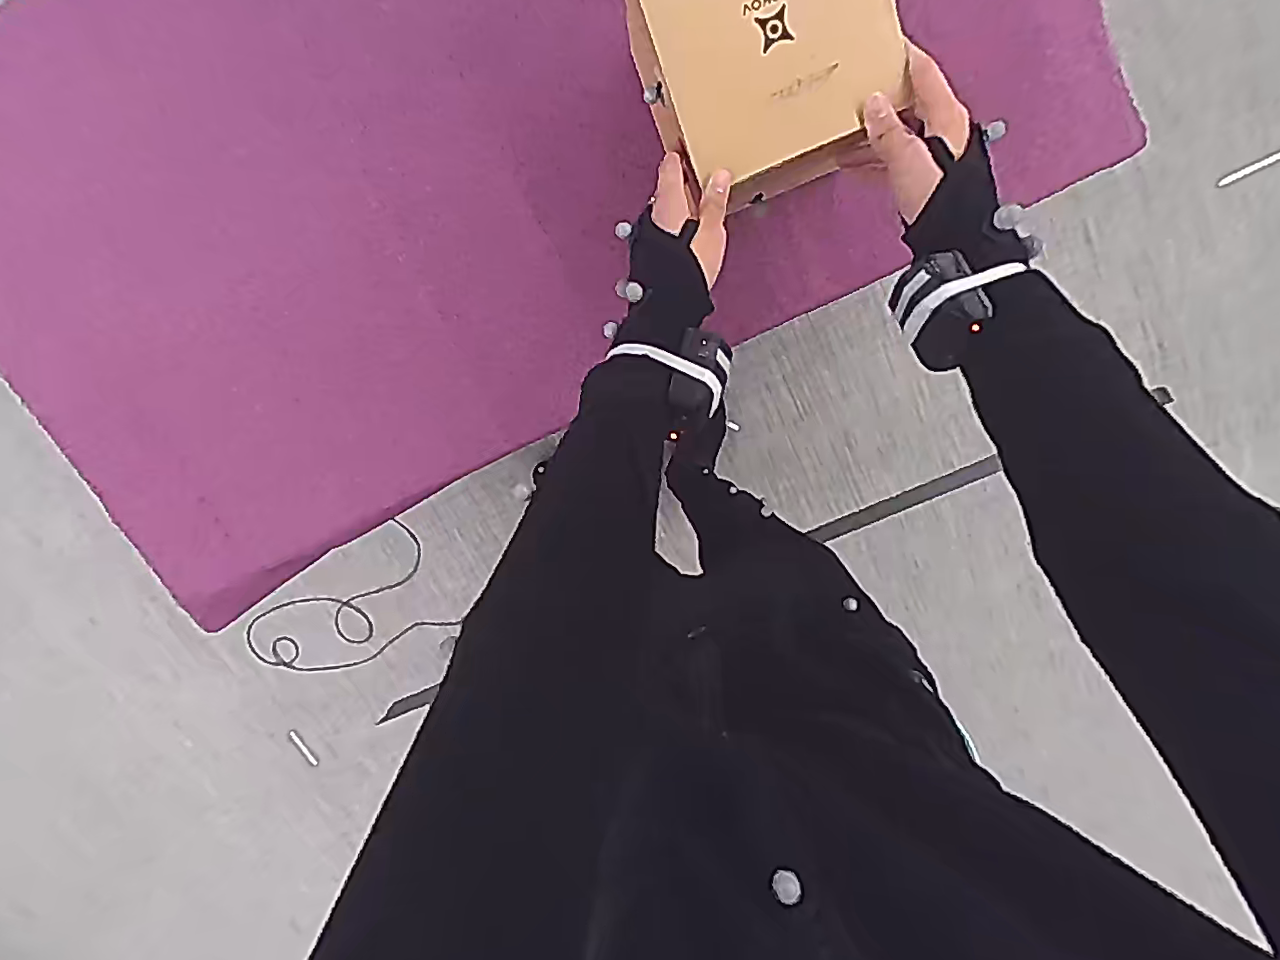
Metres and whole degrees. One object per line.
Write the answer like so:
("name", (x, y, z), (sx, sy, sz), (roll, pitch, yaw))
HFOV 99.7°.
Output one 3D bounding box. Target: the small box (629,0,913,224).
("small box", (0.092, -0.342, 0.450), (0.168, 0.176, 0.179), (-19, 105, 8))
